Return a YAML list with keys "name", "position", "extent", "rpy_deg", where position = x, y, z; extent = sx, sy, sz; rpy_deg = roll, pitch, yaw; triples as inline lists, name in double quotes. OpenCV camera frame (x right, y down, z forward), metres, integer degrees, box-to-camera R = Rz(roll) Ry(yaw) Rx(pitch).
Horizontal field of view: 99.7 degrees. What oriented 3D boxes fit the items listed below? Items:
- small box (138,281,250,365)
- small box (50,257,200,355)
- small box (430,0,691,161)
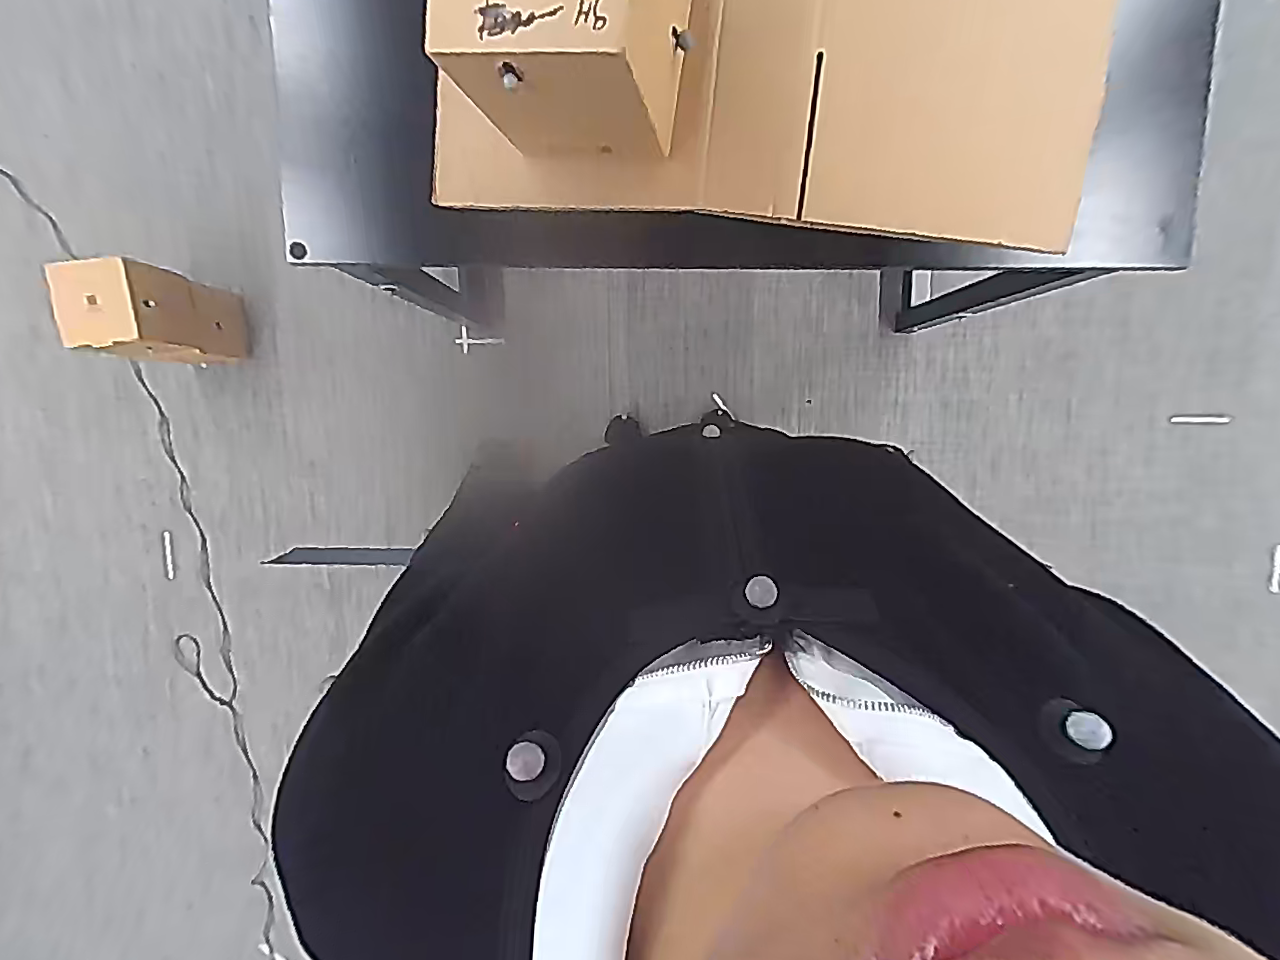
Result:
- name: "small box"
  position: [-1.140, -0.394, 1.379]
  extent: [0.168, 0.176, 0.179]
  rpy_deg: [-4, 98, 1]
- name: "small box"
  position: [-1.144, -0.380, 1.217]
  extent: [0.168, 0.176, 0.179]
  rpy_deg: [-7, 96, 0]
- name: "small box"
  position: [-0.055, -0.414, 0.473]
  extent: [0.168, 0.176, 0.179]
  rpy_deg: [10, 97, 13]
